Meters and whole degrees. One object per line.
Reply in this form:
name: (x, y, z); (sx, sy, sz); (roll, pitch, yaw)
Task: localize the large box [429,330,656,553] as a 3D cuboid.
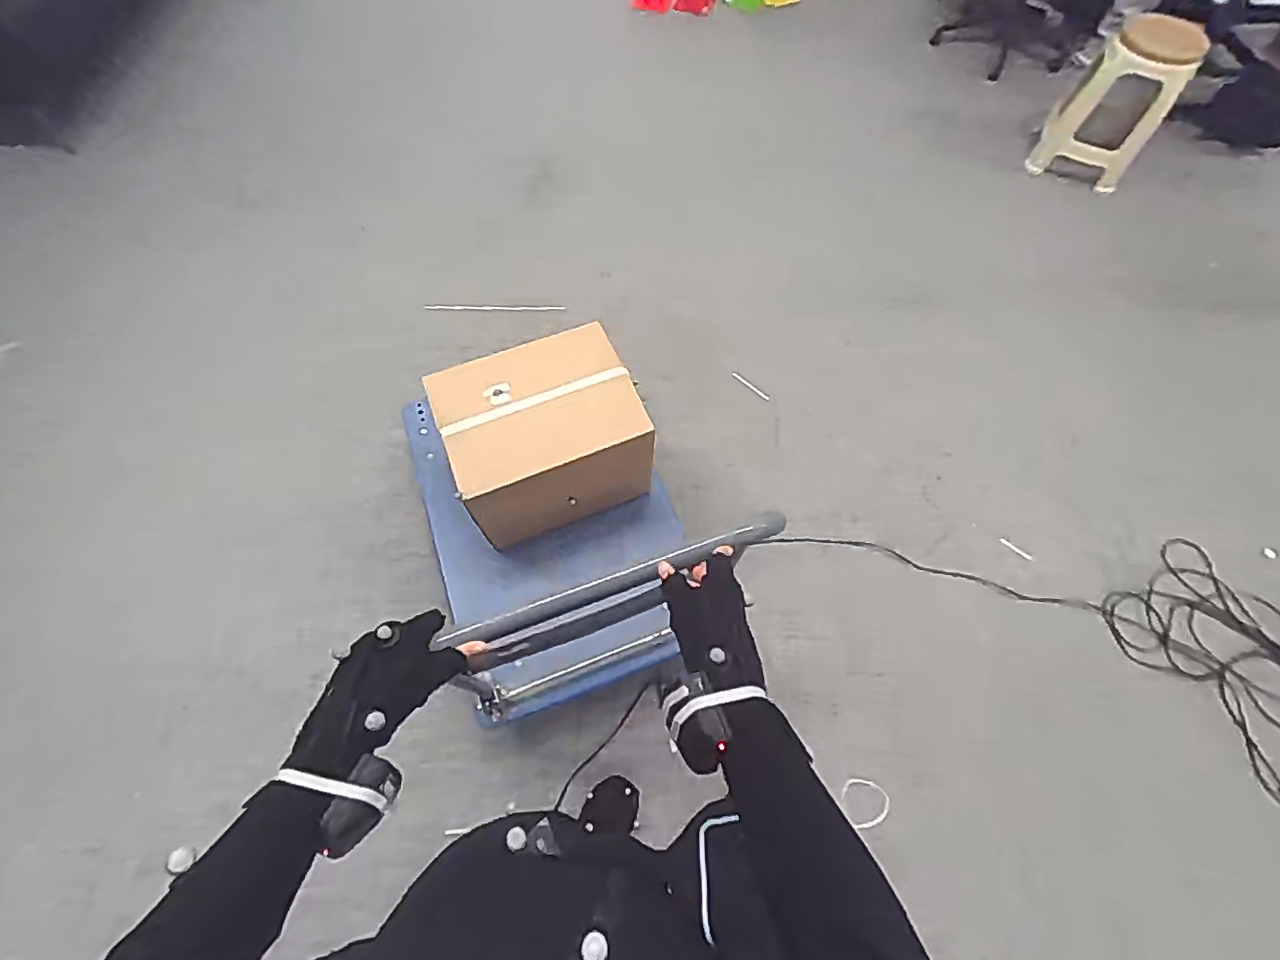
large box: (-0.208, -0.079, 1.259); (0.408, 0.320, 0.320); (-22, 66, -10)
